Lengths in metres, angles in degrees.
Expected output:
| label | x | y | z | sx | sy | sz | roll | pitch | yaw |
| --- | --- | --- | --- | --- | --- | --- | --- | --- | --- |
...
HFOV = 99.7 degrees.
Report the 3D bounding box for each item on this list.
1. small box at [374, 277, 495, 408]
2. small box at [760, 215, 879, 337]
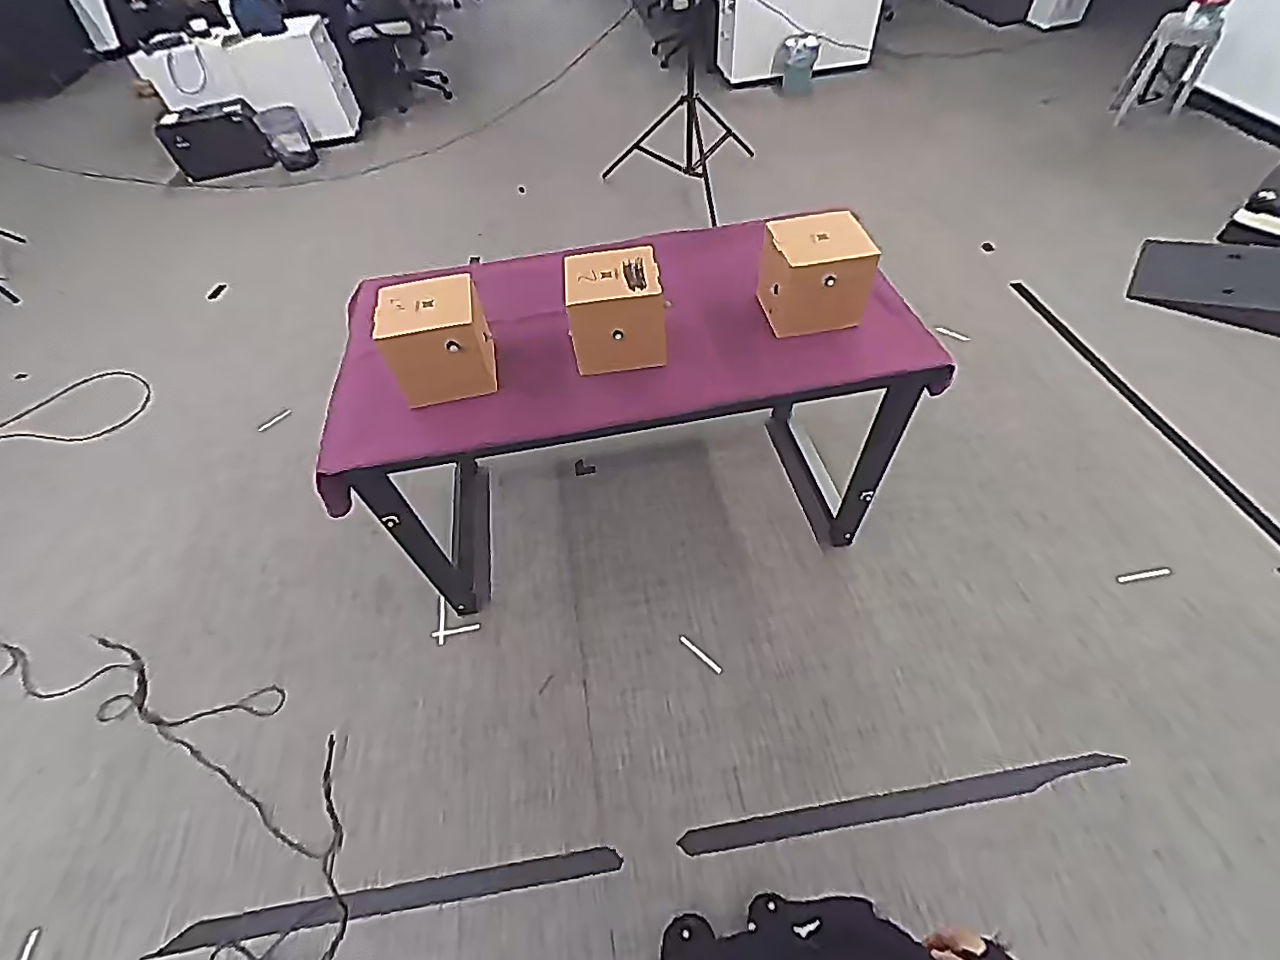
| label | x | y | z | sx | sy | sz | roll | pitch | yaw |
| --- | --- | --- | --- | --- | --- | --- | --- | --- | --- |
| small box | -0.385 | -0.263 | 1.049 | 0.179 | 0.176 | 0.168 | -12 | 51 | -4 |
| small box | 0.351 | -0.410 | 1.102 | 0.179 | 0.176 | 0.168 | -9 | 53 | -3 |
